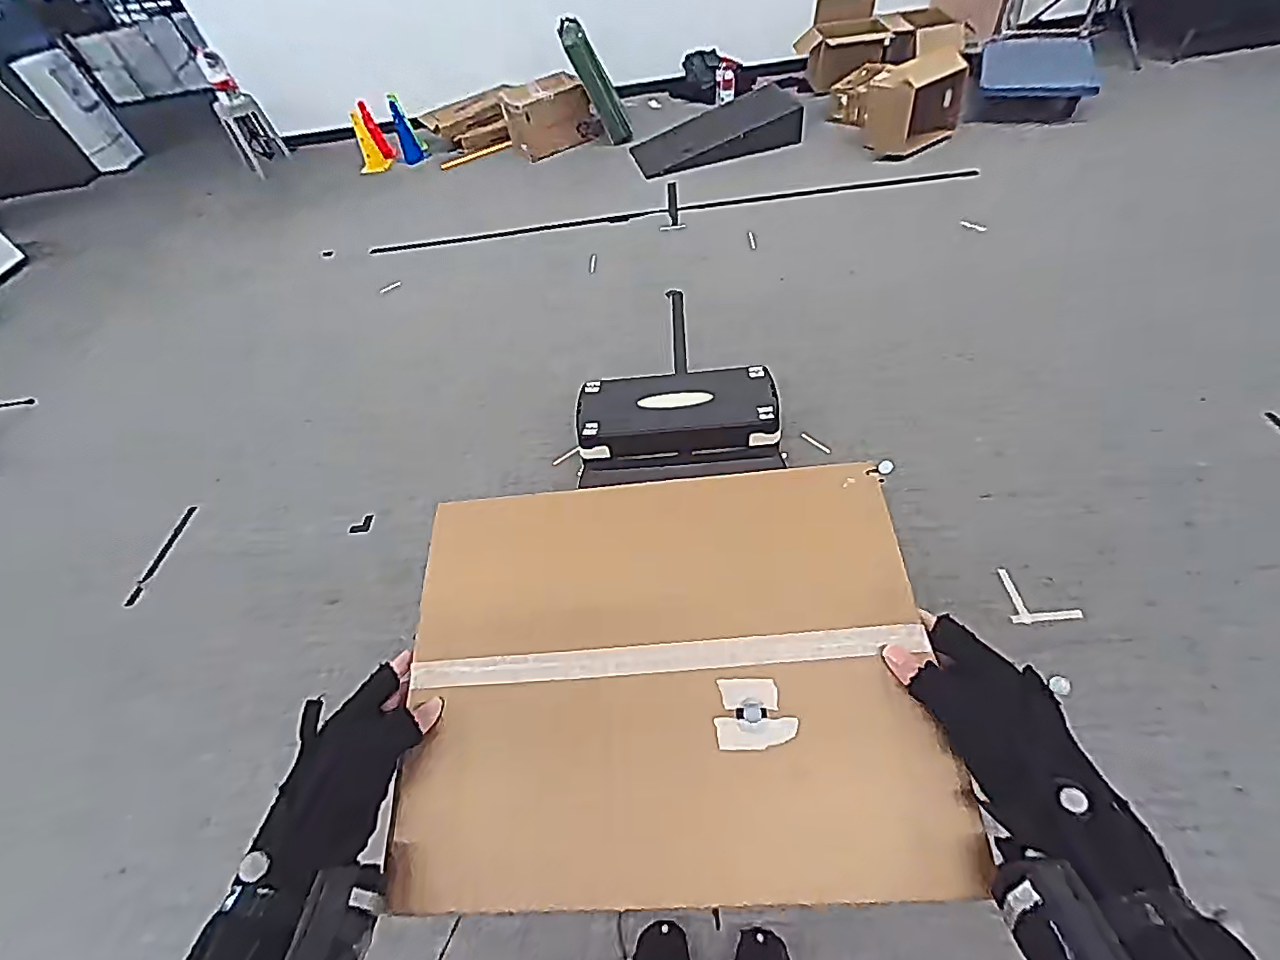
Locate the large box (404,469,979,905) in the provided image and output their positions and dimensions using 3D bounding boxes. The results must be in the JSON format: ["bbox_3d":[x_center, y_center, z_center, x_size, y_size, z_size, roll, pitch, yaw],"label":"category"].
[{"bbox_3d":[0.036,0.216,0.568,0.408,0.320,0.320,-6,61,5],"label":"large box"}]

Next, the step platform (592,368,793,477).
[{"bbox_3d":[0.174,-0.203,1.867,0.684,0.204,0.286,-5,52,5],"label":"step platform"}]
